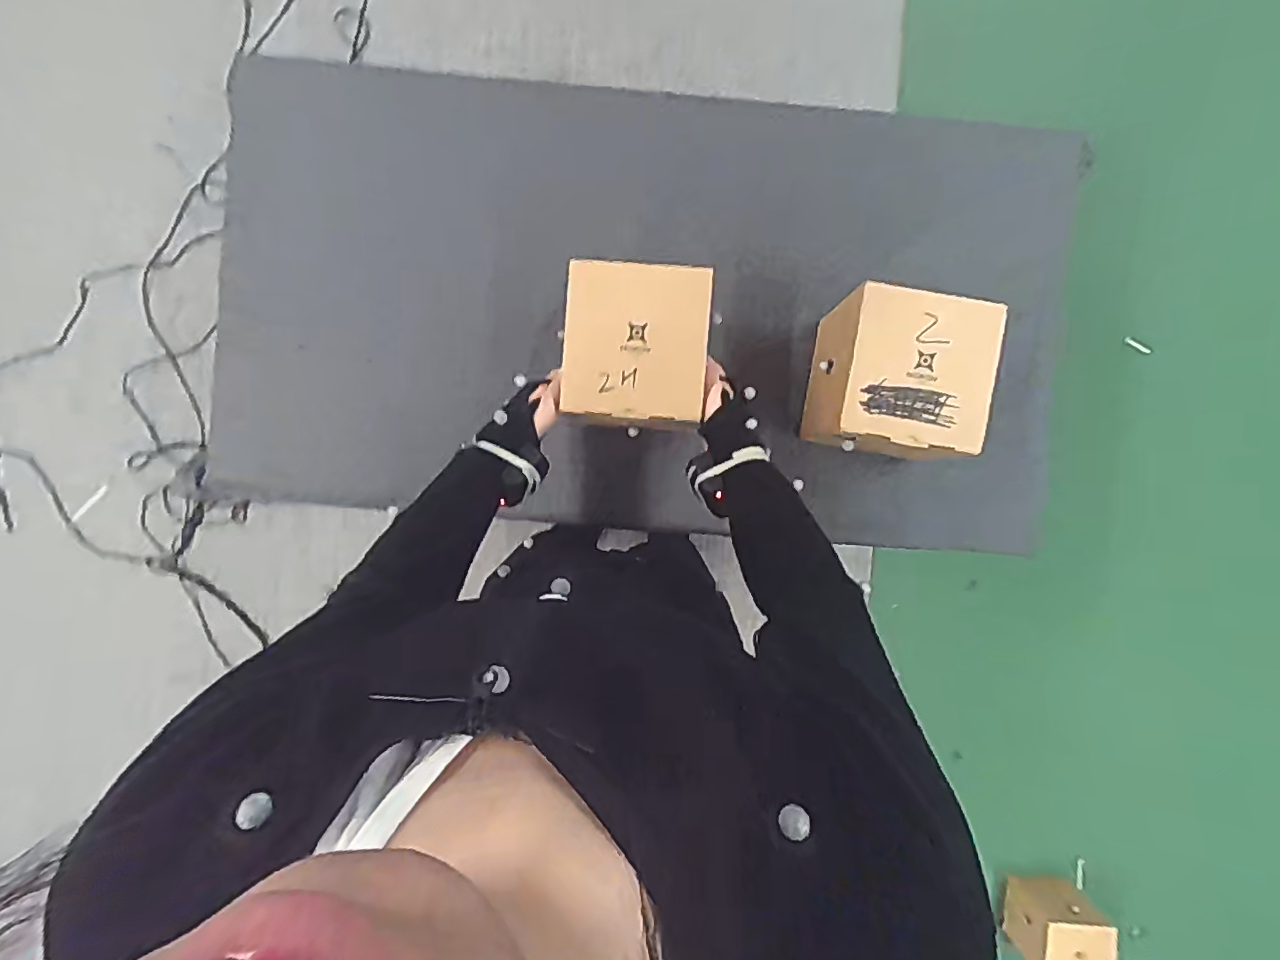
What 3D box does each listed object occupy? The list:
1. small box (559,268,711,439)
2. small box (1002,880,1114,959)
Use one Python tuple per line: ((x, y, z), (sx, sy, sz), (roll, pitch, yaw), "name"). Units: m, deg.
((-0.004, -0.152, 0.702), (0.168, 0.176, 0.179), (4, 91, 2), "small box")
((1.118, 1.222, 1.460), (0.179, 0.176, 0.168), (4, 91, -1), "small box")
